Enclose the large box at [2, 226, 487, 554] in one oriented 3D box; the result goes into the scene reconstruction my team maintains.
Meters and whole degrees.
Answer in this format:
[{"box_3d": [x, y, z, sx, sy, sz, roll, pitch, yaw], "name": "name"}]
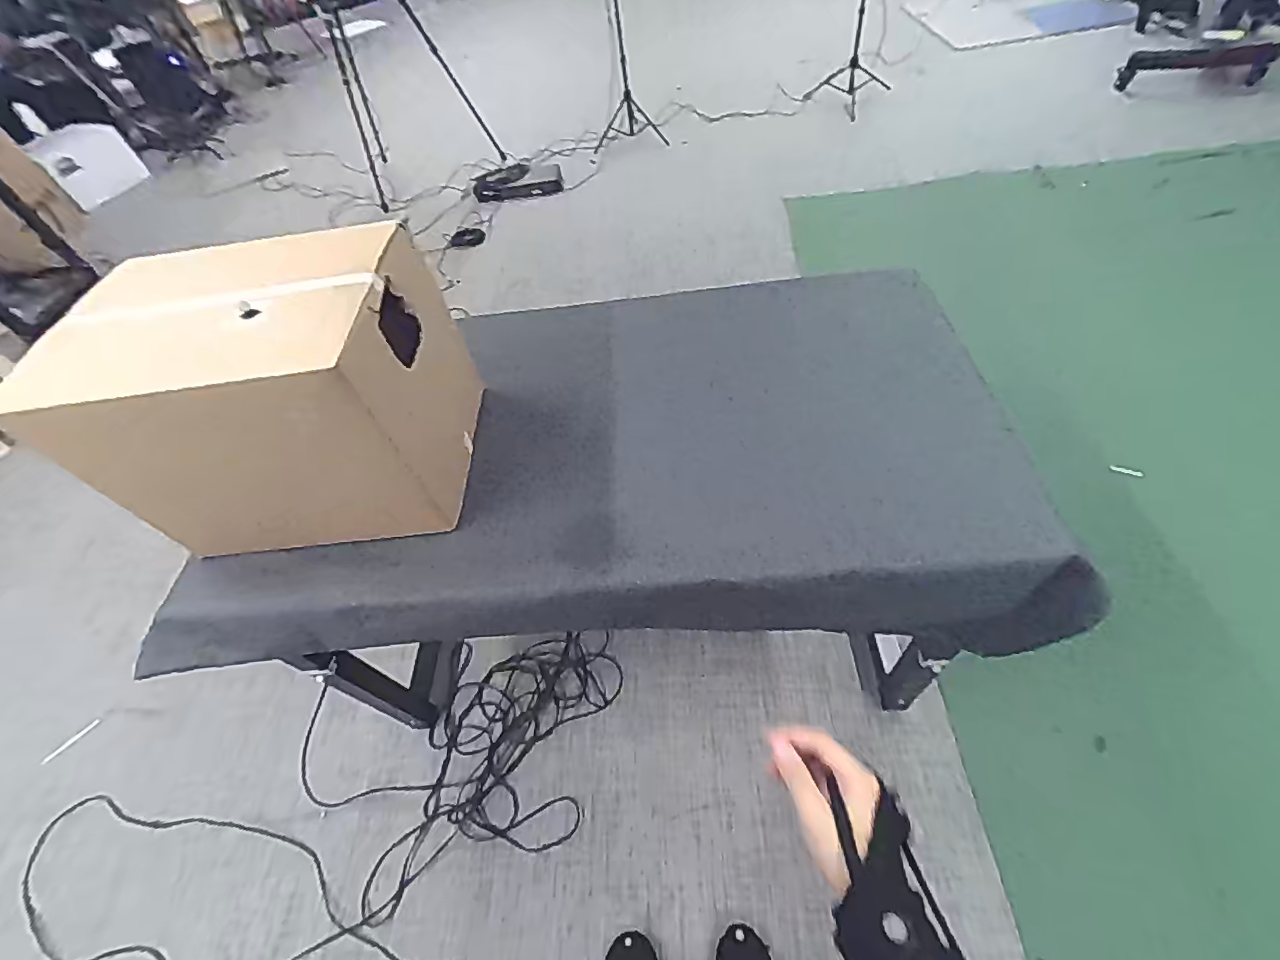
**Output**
[{"box_3d": [-0.478, -0.118, 0.774, 0.408, 0.320, 0.320, -6, 52, 3], "name": "large box"}]
